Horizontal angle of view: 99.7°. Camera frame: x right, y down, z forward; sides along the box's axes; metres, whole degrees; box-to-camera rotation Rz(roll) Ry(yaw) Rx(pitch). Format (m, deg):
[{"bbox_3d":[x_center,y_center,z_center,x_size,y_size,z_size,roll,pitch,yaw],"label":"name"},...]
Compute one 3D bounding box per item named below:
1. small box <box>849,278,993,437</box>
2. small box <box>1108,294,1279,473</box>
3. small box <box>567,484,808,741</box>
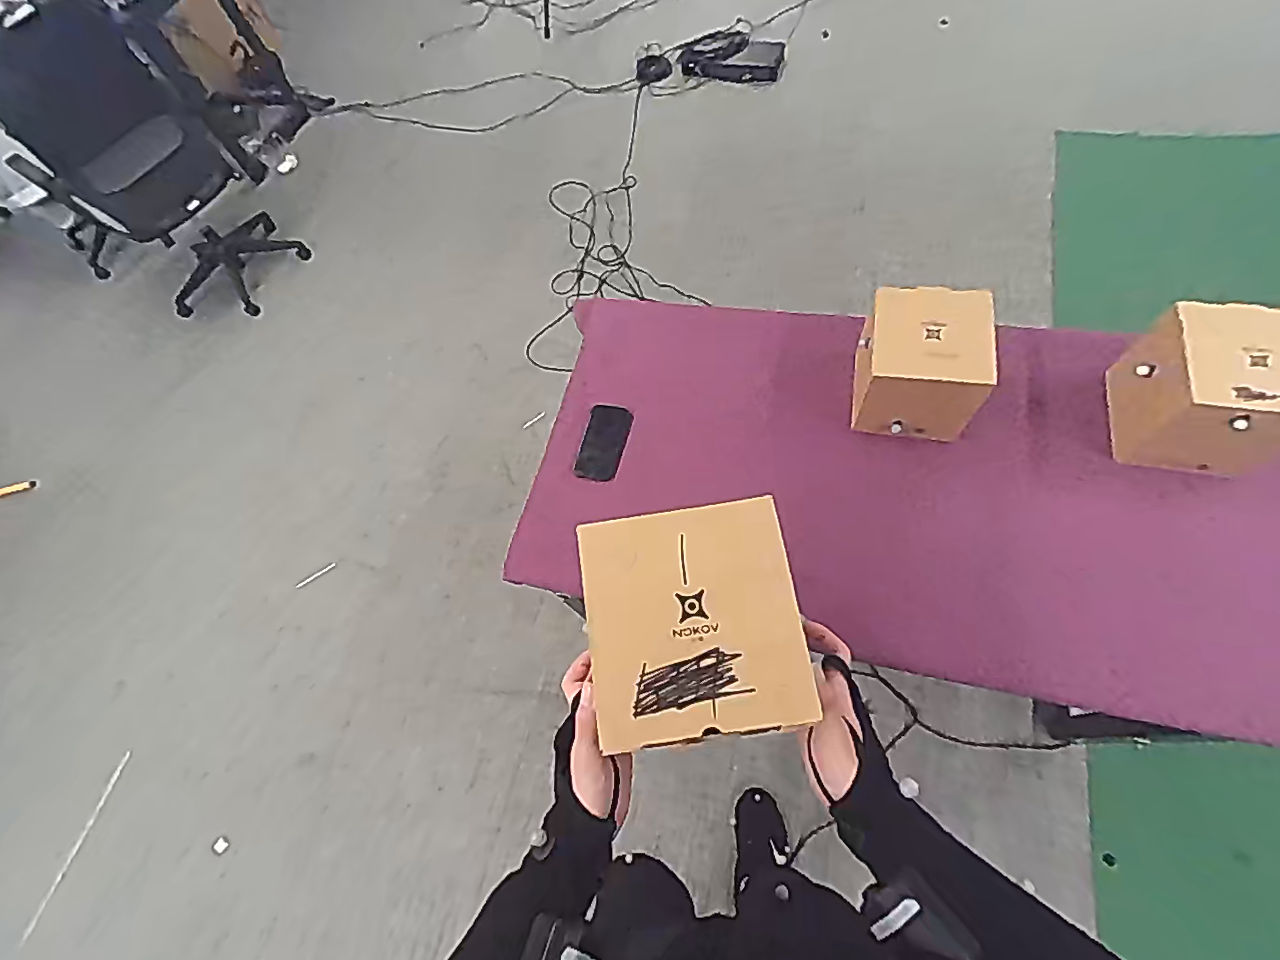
[{"bbox_3d":[0.438,-0.193,0.864,0.168,0.176,0.179,8,66,14],"label":"small box"},{"bbox_3d":[0.811,-0.134,0.769,0.168,0.176,0.179,10,66,15],"label":"small box"},{"bbox_3d":[0.037,0.119,0.489,0.168,0.176,0.179,-9,72,1],"label":"small box"}]
